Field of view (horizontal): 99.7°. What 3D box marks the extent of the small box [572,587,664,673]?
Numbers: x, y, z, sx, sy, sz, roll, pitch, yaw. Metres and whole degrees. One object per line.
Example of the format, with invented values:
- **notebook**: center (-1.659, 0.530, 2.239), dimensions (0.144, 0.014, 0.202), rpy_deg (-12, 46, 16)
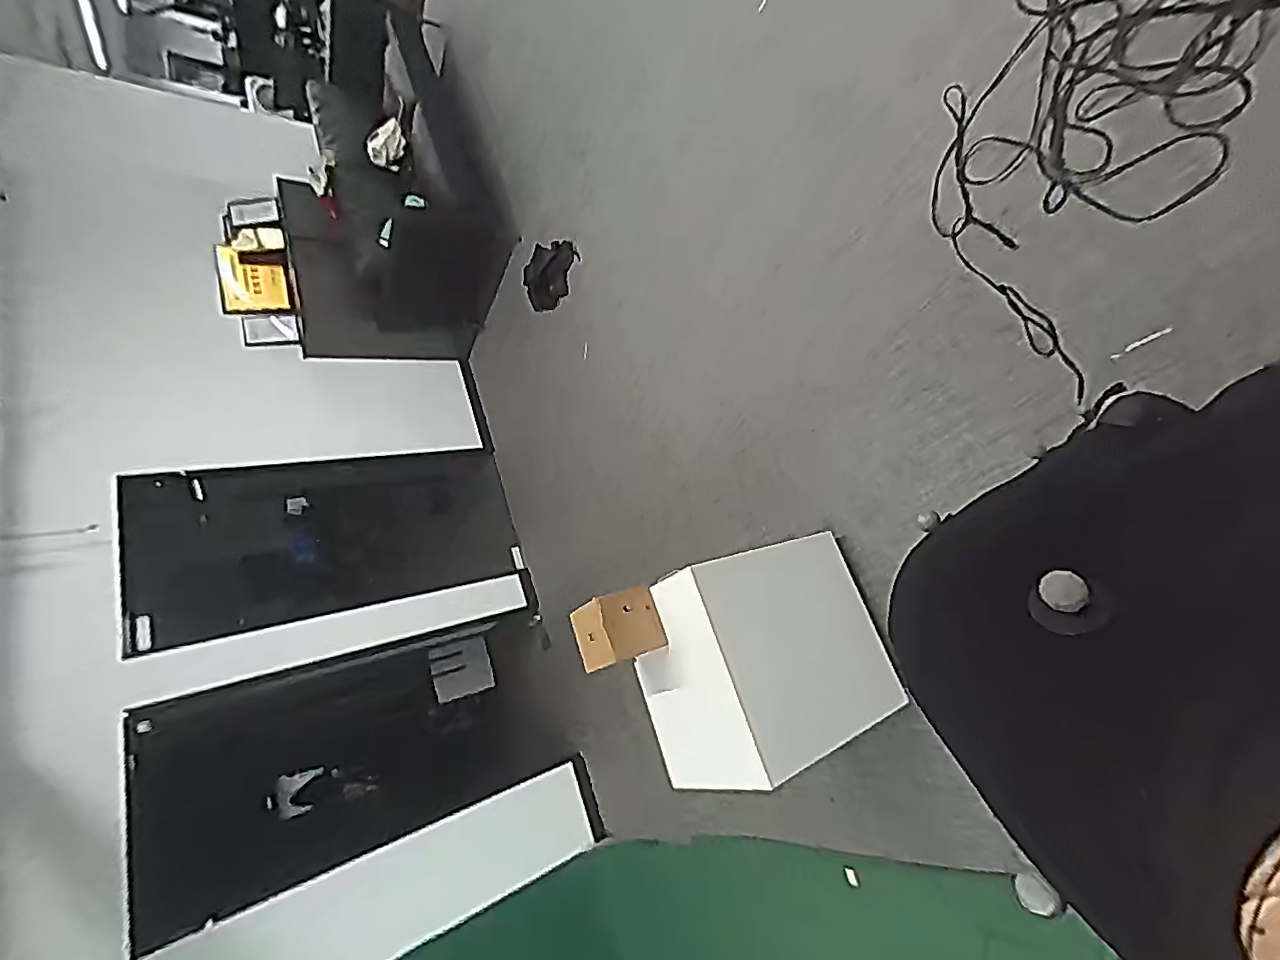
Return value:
- **small box**: center (-0.054, 0.395, 1.432), dimensions (0.179, 0.176, 0.168), rpy_deg (-43, 61, 50)
